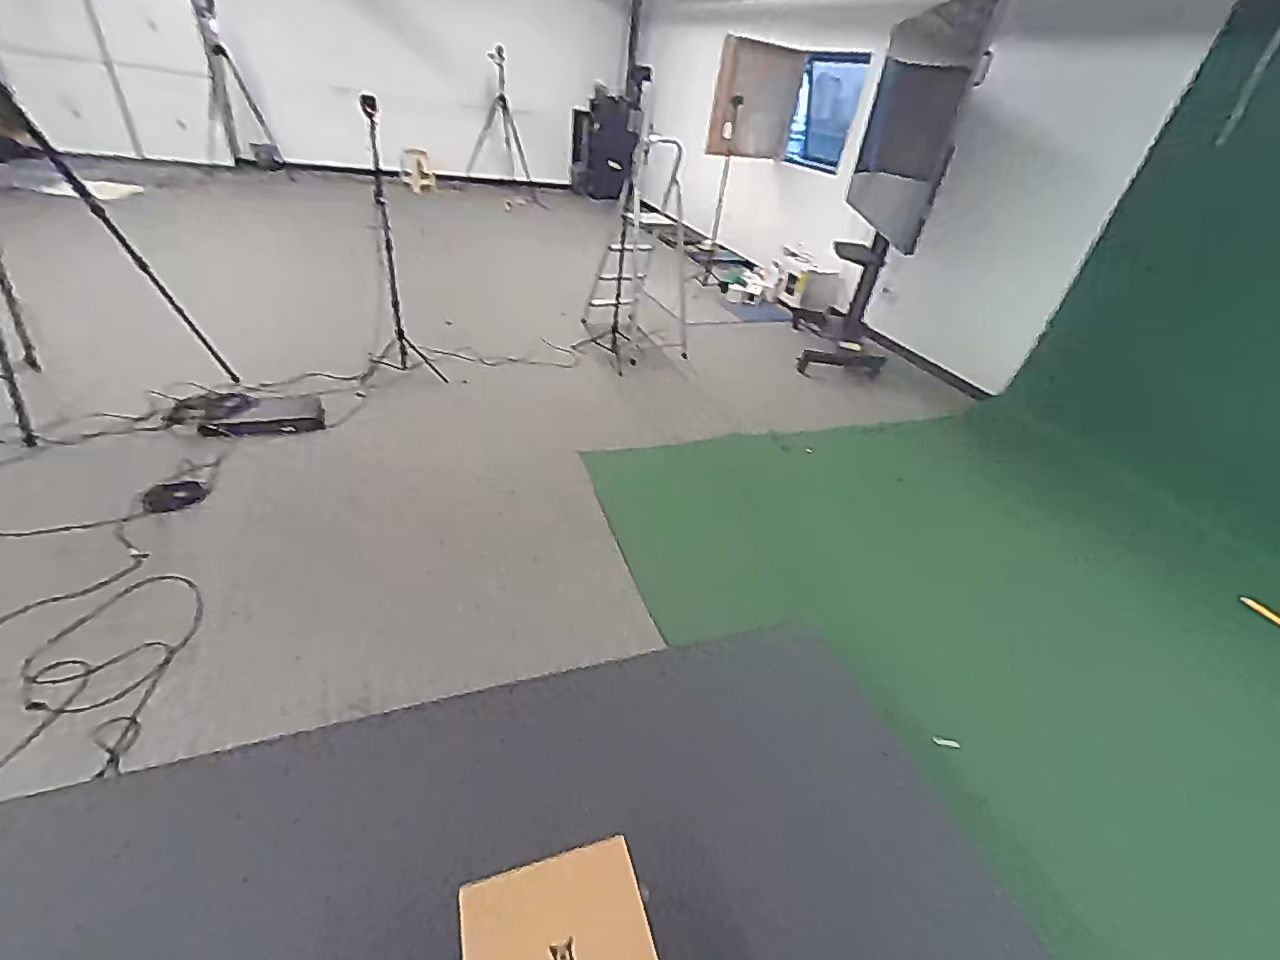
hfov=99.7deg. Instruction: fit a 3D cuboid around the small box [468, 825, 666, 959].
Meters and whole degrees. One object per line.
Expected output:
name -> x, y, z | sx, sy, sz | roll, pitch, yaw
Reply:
small box -> -0.072, 0.482, 0.521 | 0.168, 0.176, 0.179 | -6, 38, -19
